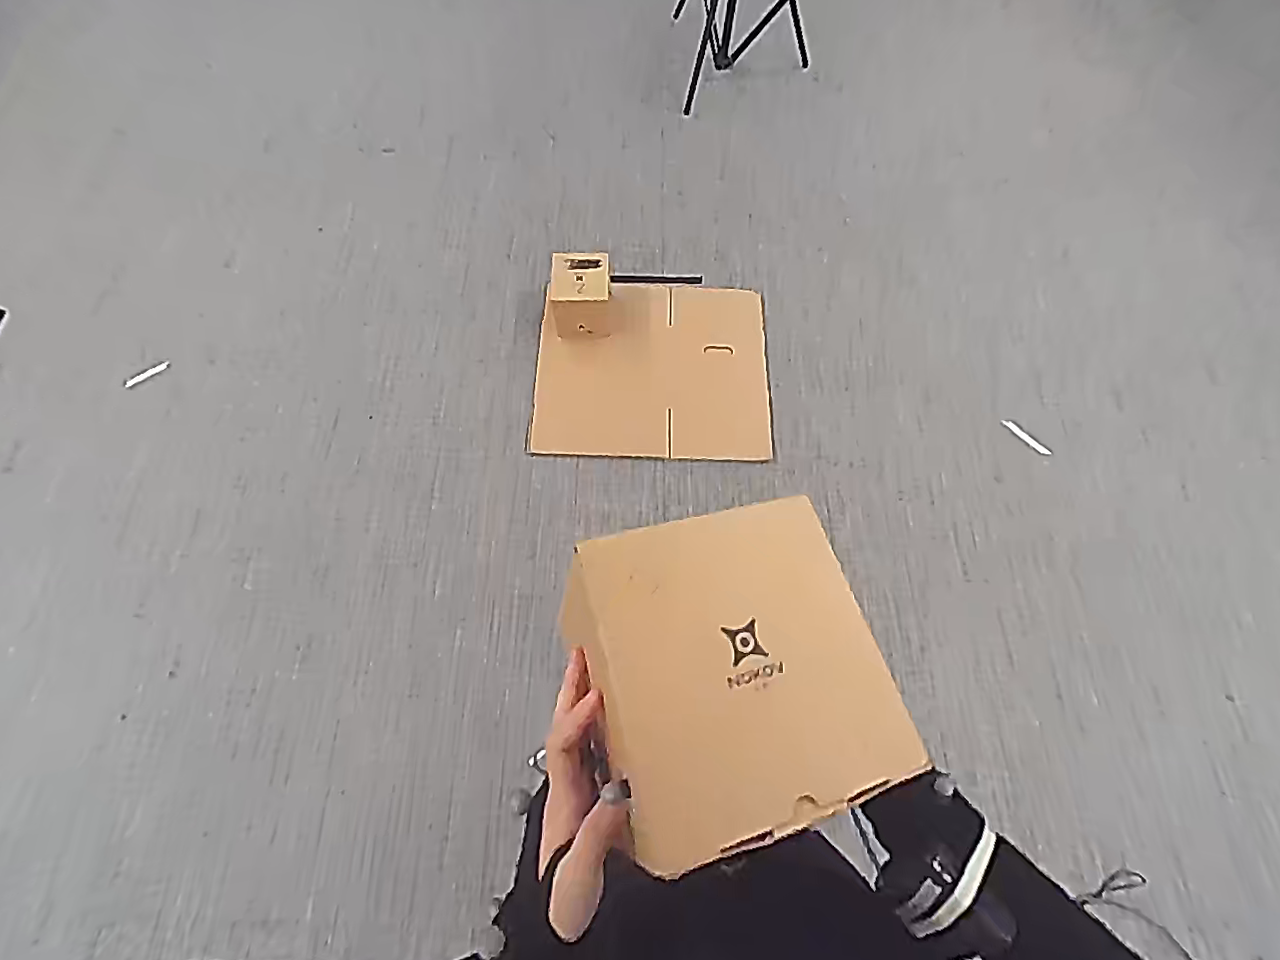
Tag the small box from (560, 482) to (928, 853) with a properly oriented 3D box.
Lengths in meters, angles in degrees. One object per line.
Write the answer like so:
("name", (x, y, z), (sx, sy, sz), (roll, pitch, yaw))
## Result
("small box", (0.045, 0.126, 0.378), (0.168, 0.176, 0.179), (-11, 65, -18))
